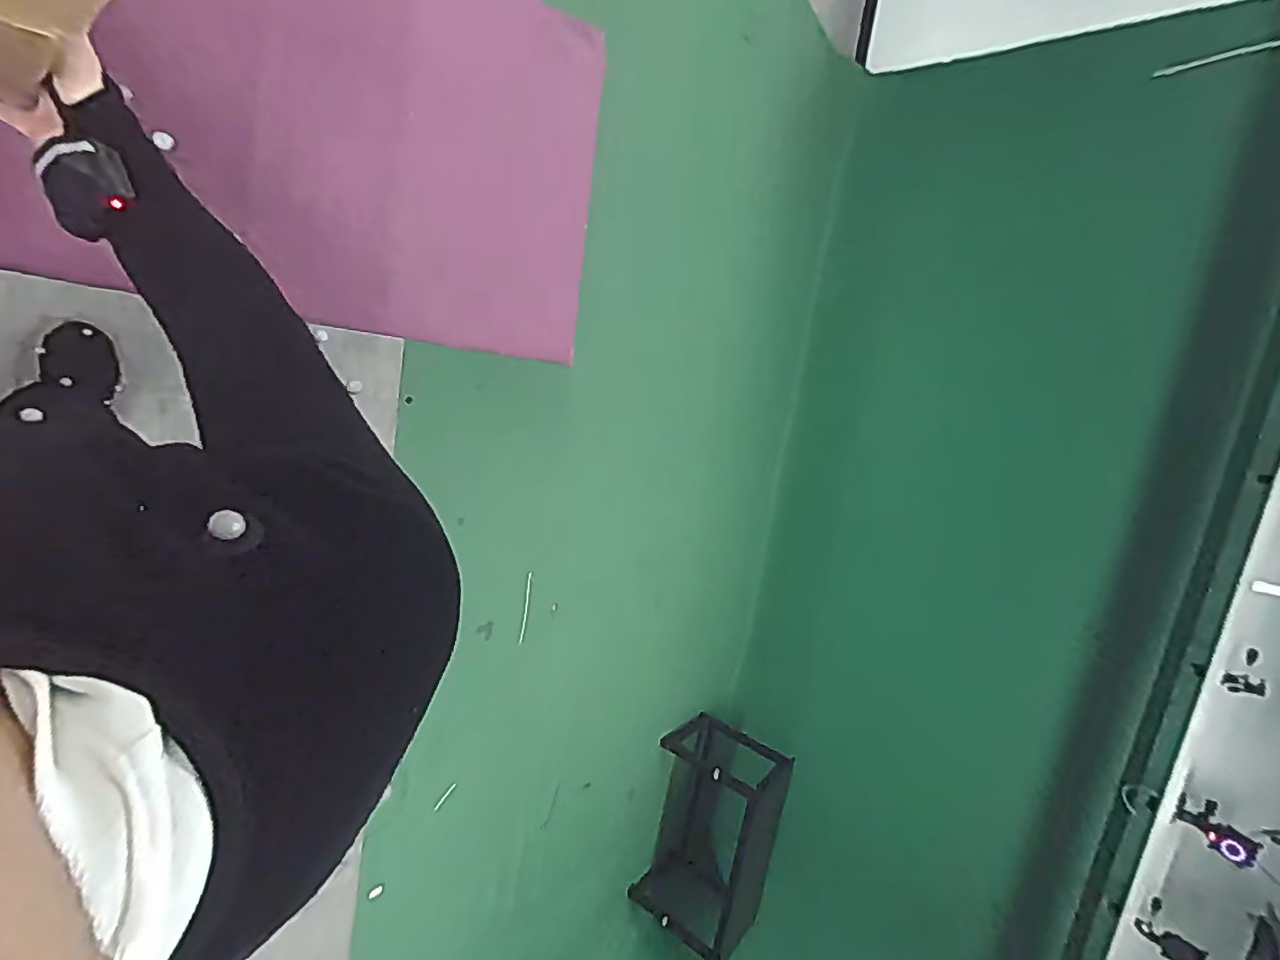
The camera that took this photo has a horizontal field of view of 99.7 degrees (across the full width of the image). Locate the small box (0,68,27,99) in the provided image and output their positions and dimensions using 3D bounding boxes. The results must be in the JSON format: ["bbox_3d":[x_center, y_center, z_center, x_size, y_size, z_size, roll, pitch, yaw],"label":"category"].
[{"bbox_3d":[-0.615,-0.437,0.419,0.168,0.176,0.179,-6,108,-53],"label":"small box"}]

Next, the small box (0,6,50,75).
[{"bbox_3d":[-0.487,-0.391,0.326,0.168,0.176,0.179,-6,106,-53],"label":"small box"}]
